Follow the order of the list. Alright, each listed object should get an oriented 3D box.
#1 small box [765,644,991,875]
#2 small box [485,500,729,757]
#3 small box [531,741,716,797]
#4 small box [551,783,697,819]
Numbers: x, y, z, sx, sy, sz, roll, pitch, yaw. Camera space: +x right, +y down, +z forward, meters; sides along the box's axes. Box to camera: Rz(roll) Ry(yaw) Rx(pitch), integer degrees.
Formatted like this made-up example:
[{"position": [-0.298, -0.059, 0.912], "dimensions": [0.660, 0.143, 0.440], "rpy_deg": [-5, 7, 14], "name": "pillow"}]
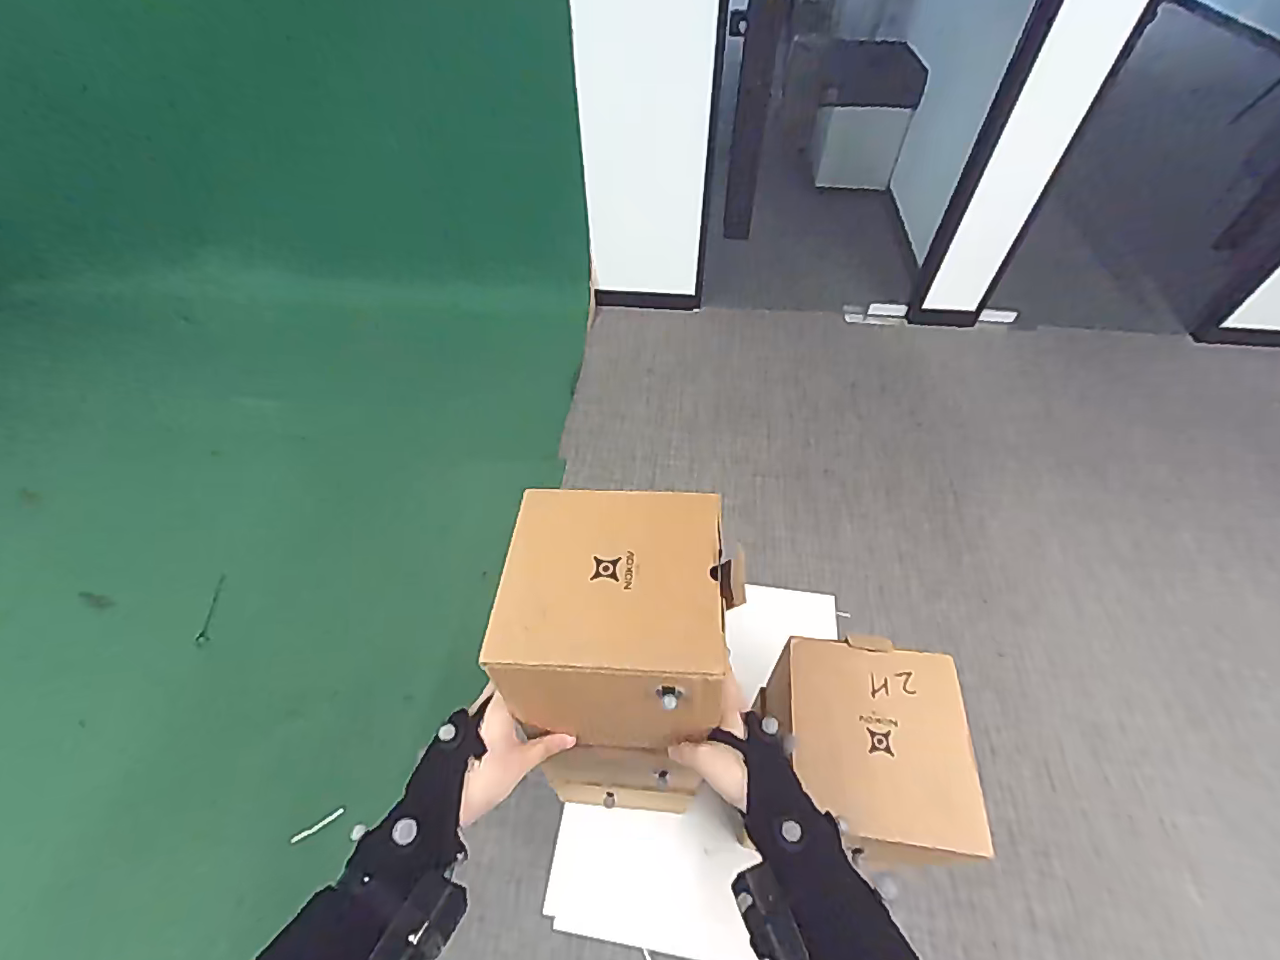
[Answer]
[{"position": [0.229, 0.298, 0.571], "dimensions": [0.168, 0.176, 0.179], "rpy_deg": [6, 52, 6], "name": "small box"}, {"position": [-0.015, 0.135, 0.487], "dimensions": [0.179, 0.176, 0.168], "rpy_deg": [2, 48, 4], "name": "small box"}, {"position": [-0.013, 0.250, 0.614], "dimensions": [0.179, 0.176, 0.168], "rpy_deg": [3, 51, 2], "name": "small box"}, {"position": [-0.014, 0.354, 0.741], "dimensions": [0.179, 0.176, 0.168], "rpy_deg": [4, 52, 2], "name": "small box"}]
